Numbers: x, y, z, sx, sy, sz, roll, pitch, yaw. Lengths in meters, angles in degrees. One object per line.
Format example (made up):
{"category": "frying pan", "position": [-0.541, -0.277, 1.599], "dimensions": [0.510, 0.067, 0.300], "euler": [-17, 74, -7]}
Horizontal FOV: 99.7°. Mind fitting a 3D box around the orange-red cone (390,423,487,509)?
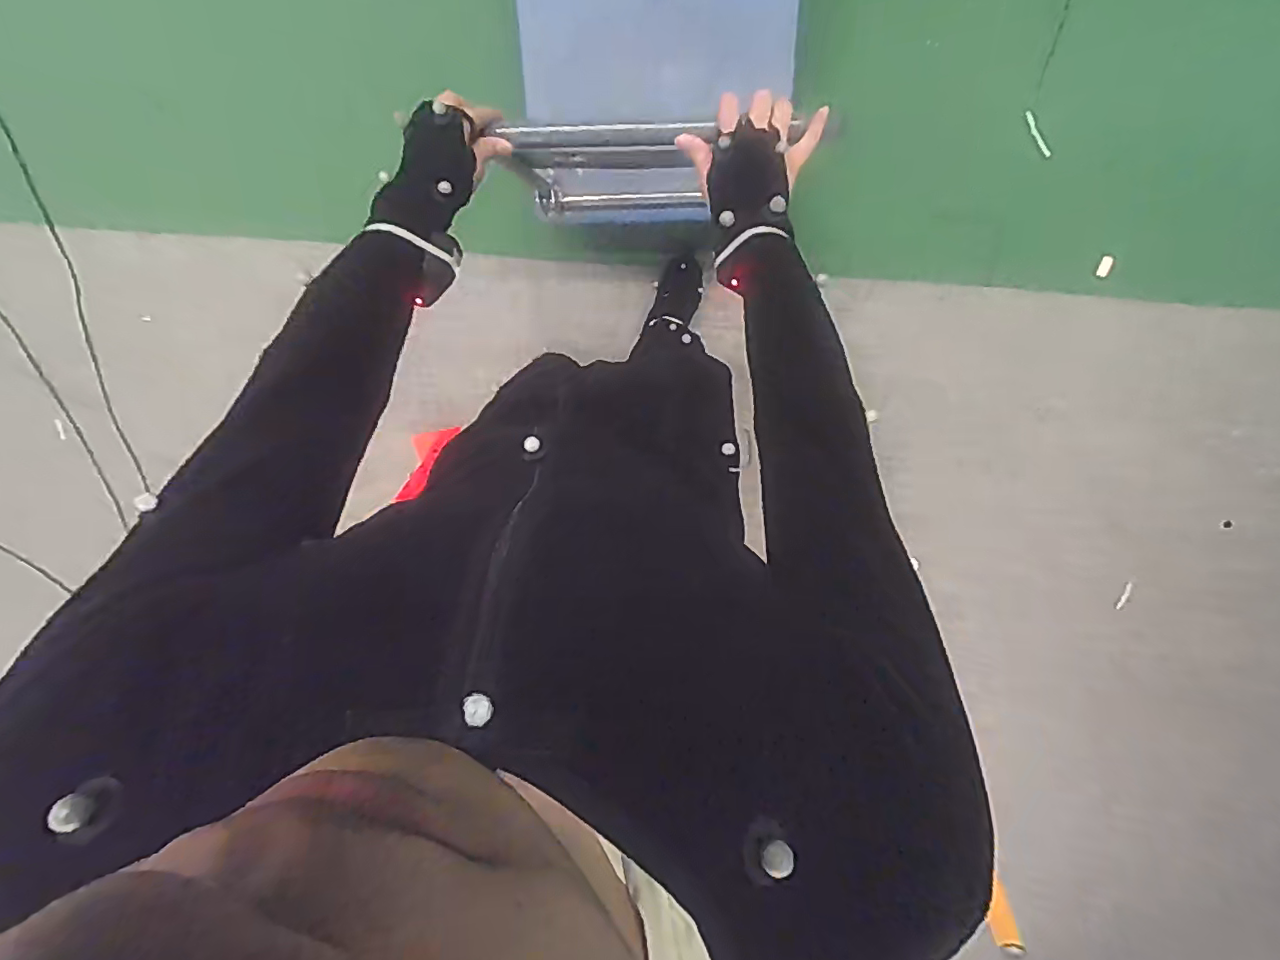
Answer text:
{"category": "orange-red cone", "position": [-0.602, -0.009, 1.527], "dimensions": [0.199, 0.360, 0.198], "euler": [-8, 111, 9]}
